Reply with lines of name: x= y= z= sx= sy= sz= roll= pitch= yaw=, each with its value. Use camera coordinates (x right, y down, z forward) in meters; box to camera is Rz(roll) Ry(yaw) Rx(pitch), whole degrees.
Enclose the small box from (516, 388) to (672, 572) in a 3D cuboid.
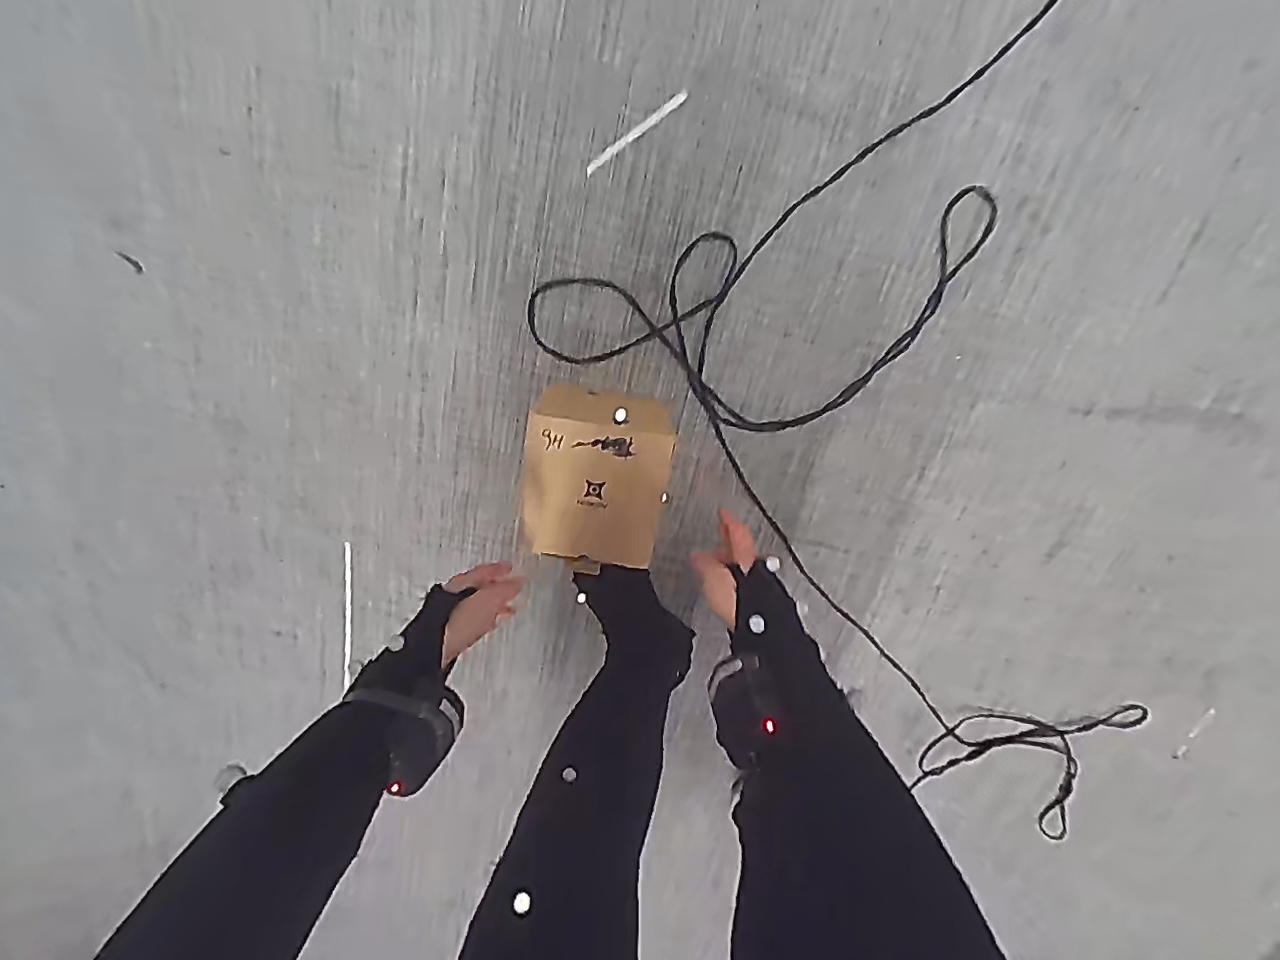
small box: x=-0.057 y=-0.007 z=0.706 sx=0.168 sy=0.176 sz=0.179 roll=9 pitch=111 yaw=-5
